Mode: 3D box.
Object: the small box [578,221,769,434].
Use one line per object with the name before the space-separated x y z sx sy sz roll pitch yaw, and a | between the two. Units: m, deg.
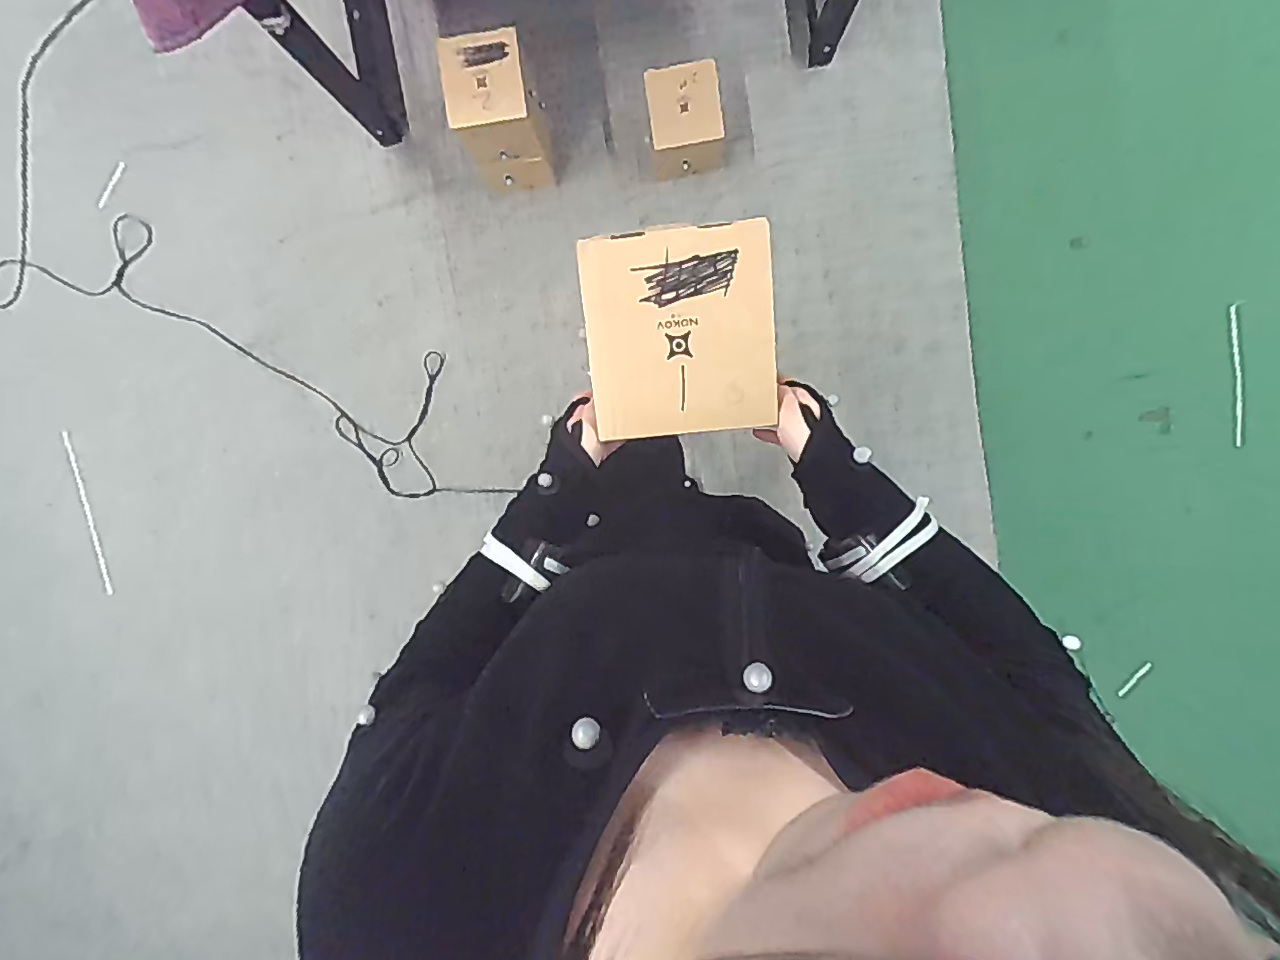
small box | 0.035 -0.150 0.562 0.168 0.176 0.179 -4 104 5
